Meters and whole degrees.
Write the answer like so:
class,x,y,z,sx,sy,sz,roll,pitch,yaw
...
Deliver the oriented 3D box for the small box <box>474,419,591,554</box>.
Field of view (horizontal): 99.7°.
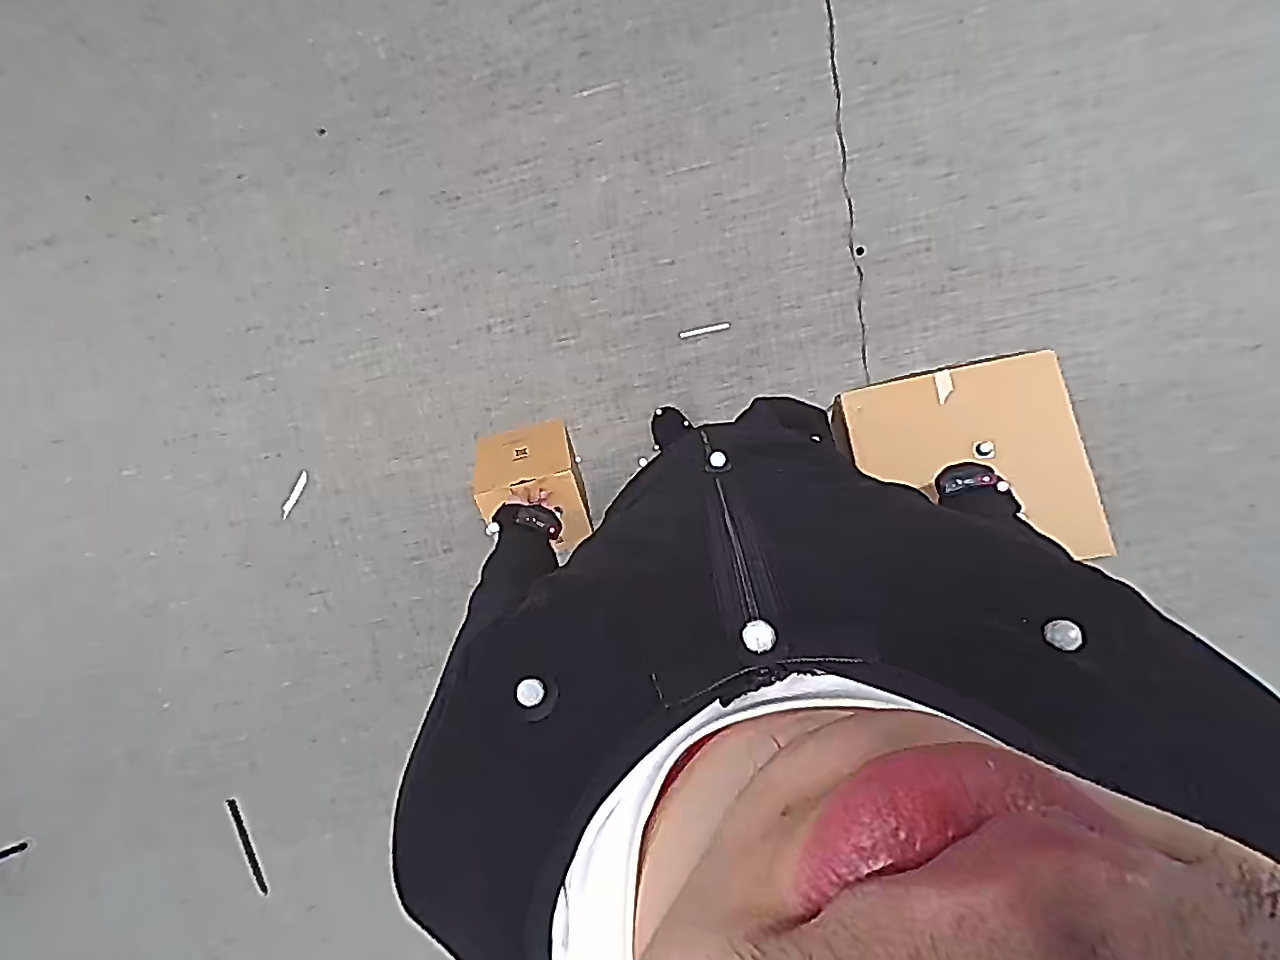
class,x,y,z,sx,sy,sz,roll,pitch,yaw
small box,-0.193,0.017,0.995,0.168,0.179,0.176,-15,127,-3
